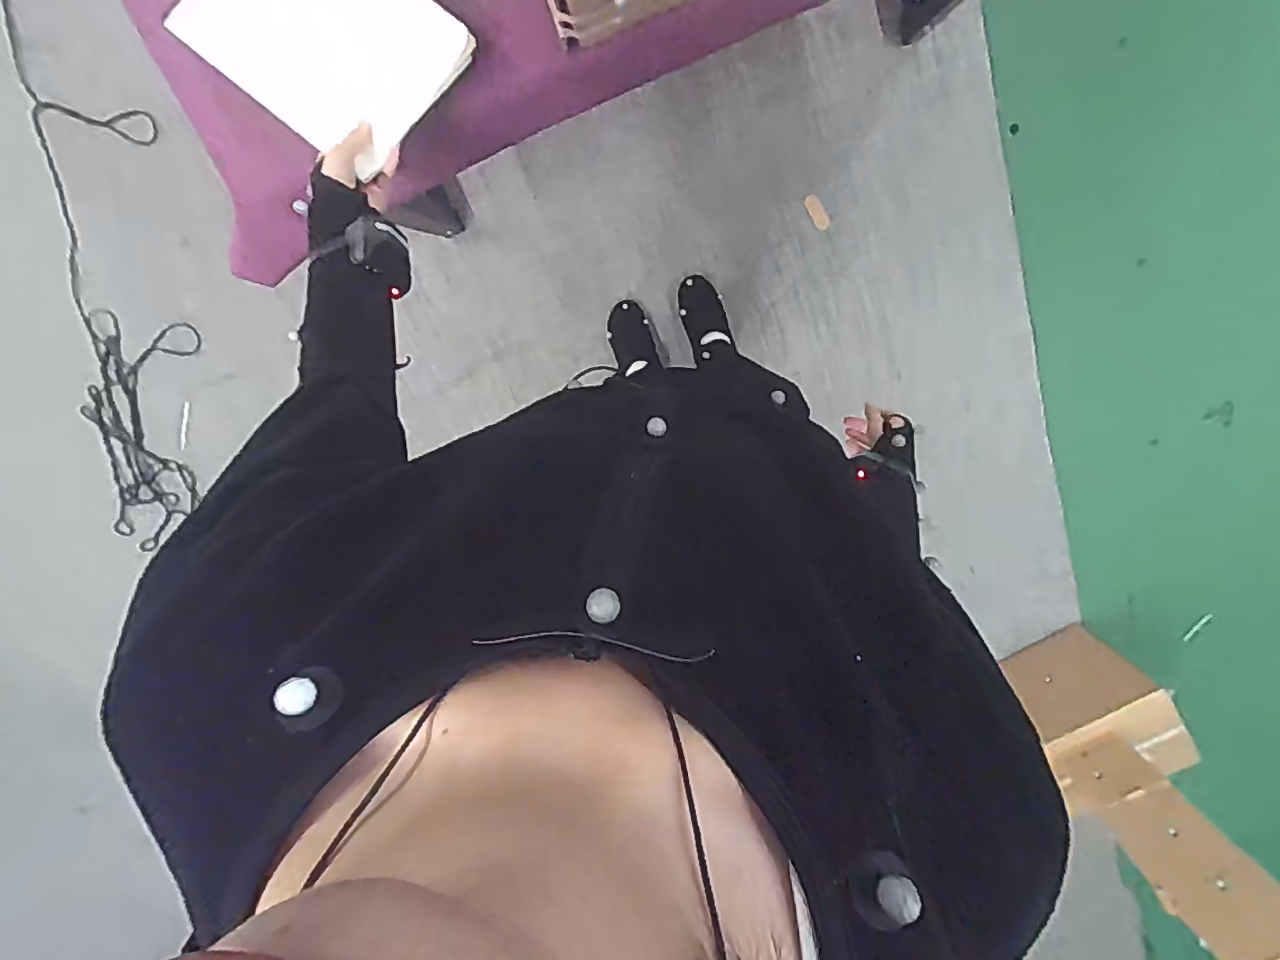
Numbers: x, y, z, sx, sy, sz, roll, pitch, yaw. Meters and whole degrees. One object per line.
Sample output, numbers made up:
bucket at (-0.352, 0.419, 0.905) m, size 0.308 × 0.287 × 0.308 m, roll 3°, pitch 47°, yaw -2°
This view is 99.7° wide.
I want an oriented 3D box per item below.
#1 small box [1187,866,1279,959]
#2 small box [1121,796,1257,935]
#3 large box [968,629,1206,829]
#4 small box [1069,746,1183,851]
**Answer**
small box at (1.274, 0.935, 1.092) m, size 0.179 × 0.176 × 0.168 m, roll -34°, pitch 105°, yaw 12°
small box at (1.271, 0.882, 1.248) m, size 0.179 × 0.176 × 0.168 m, roll -36°, pitch 105°, yaw 11°
large box at (1.315, 0.735, 1.628) m, size 0.408 × 0.320 × 0.320 m, roll -35°, pitch 106°, yaw 10°
small box at (1.273, 0.826, 1.401) m, size 0.168 × 0.176 × 0.179 m, roll -34°, pitch 105°, yaw 11°
